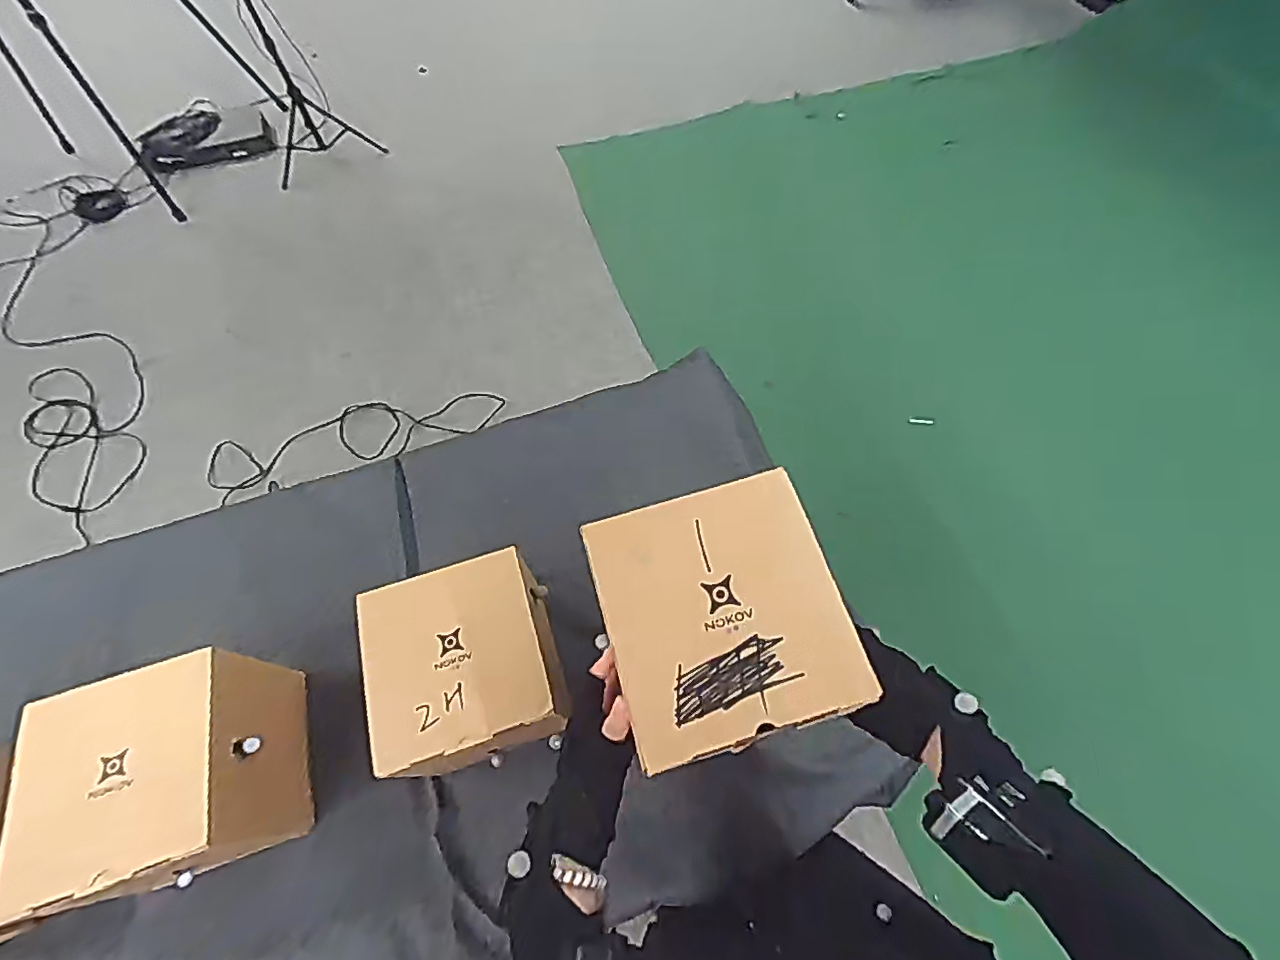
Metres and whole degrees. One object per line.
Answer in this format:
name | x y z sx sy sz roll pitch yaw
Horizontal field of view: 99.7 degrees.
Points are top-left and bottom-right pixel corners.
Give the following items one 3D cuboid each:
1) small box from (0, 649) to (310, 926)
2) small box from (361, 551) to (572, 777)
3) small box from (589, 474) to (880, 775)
small box | -0.459 0.294 0.541 0.168 0.176 0.179 -17 64 -10
small box | -0.179 0.205 0.588 0.168 0.176 0.179 -16 63 -8
small box | 0.063 0.120 0.456 0.168 0.176 0.179 -15 69 -5
